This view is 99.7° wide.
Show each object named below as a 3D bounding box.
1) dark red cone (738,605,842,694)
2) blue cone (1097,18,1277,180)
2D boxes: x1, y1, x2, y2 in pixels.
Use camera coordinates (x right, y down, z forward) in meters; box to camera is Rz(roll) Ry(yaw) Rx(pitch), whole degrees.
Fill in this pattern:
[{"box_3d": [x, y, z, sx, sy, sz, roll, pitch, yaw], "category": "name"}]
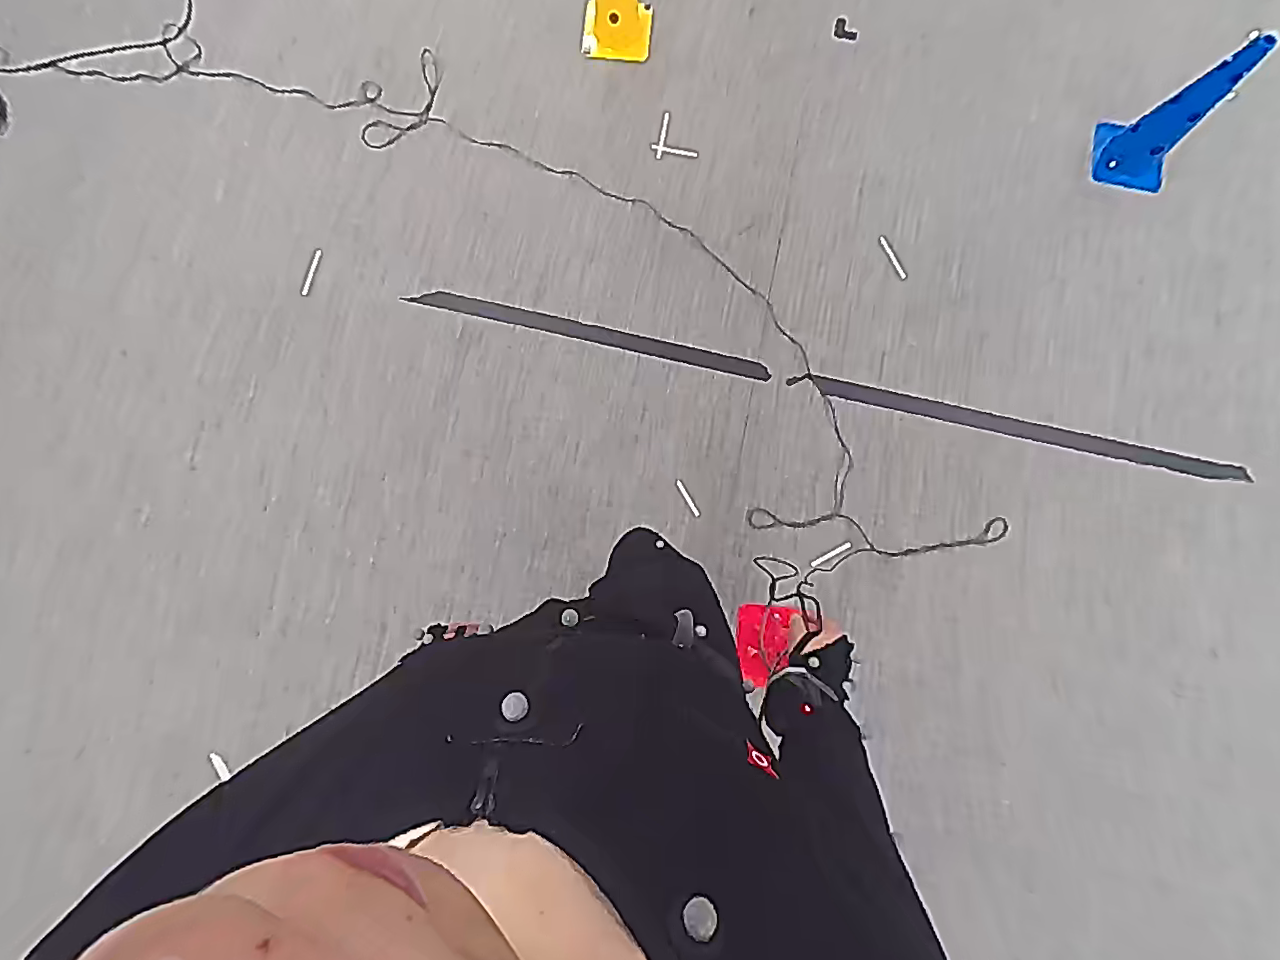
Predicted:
[{"box_3d": [0.342, 0.381, 1.148, 0.202, 0.394, 0.201, 5, 80, 0], "category": "dark red cone"}, {"box_3d": [1.419, -0.988, 1.401, 0.193, 0.380, 0.192, 13, 80, 2], "category": "blue cone"}]
